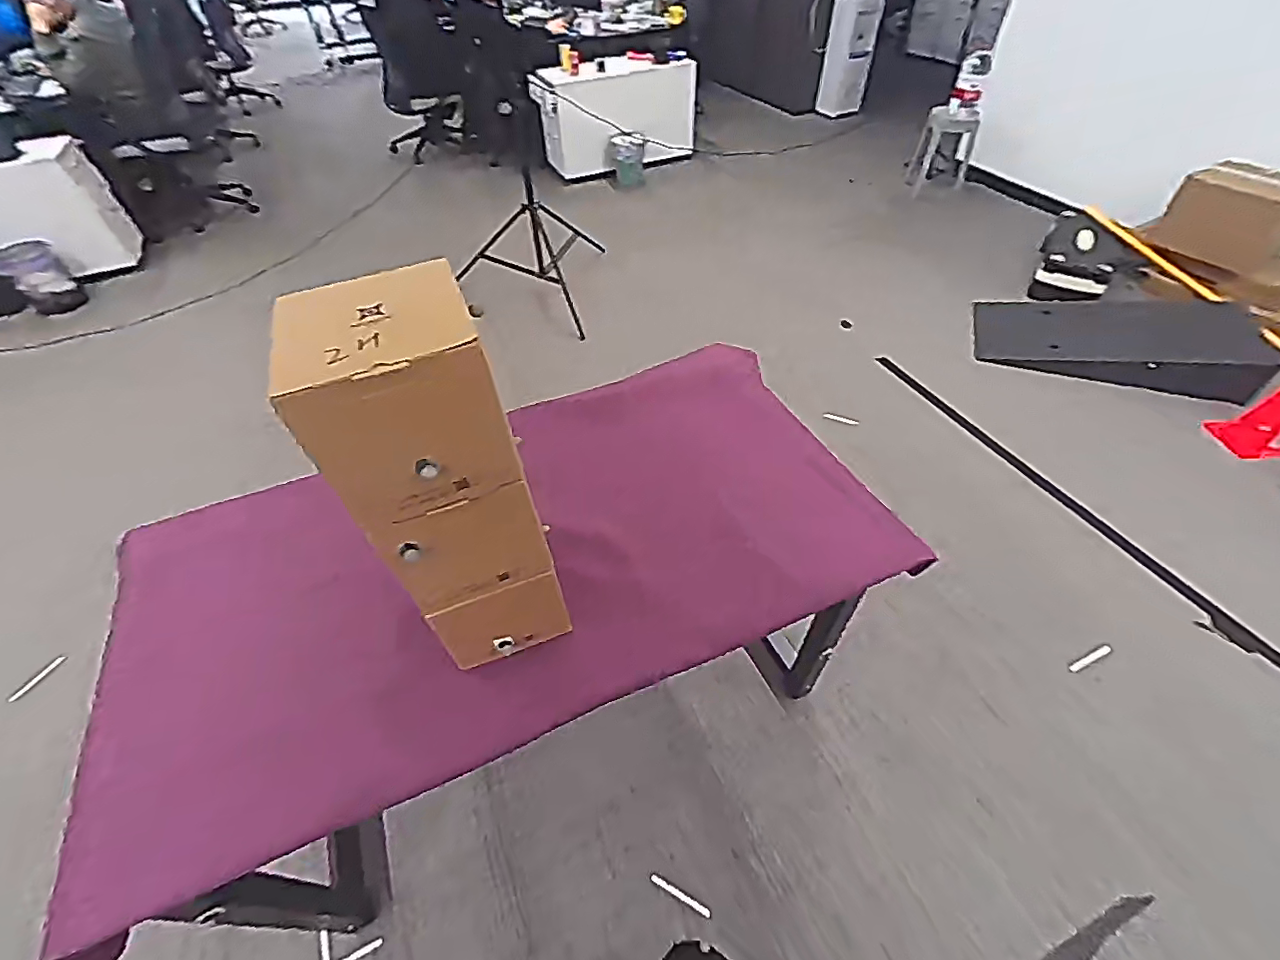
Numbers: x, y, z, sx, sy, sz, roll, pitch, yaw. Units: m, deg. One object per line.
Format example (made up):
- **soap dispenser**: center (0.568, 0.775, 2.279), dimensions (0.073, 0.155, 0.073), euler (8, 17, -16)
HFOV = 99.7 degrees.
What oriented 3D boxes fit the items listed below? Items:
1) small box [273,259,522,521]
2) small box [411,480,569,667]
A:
- **small box**: center (-0.231, -0.091, 0.540), dimensions (0.168, 0.176, 0.179), euler (-20, 49, -13)
- **small box**: center (-0.212, 0.135, 0.780), dimensions (0.168, 0.176, 0.179), euler (-19, 51, -13)
